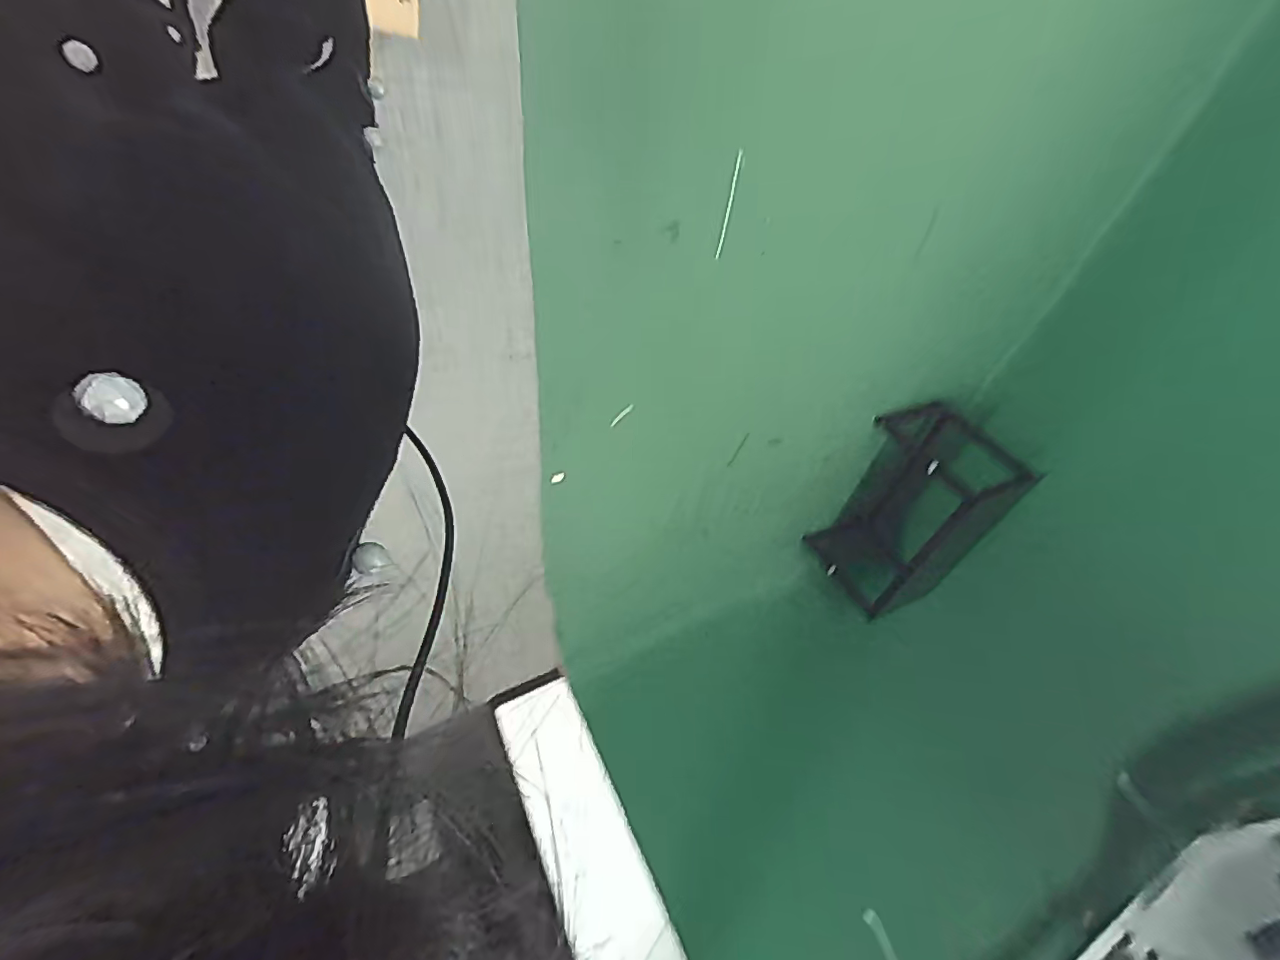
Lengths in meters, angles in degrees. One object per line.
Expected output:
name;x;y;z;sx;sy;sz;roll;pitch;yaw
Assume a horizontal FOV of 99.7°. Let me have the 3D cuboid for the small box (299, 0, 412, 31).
small box;-0.489;-0.891;0.902;0.179;0.176;0.168;-10;140;-30
